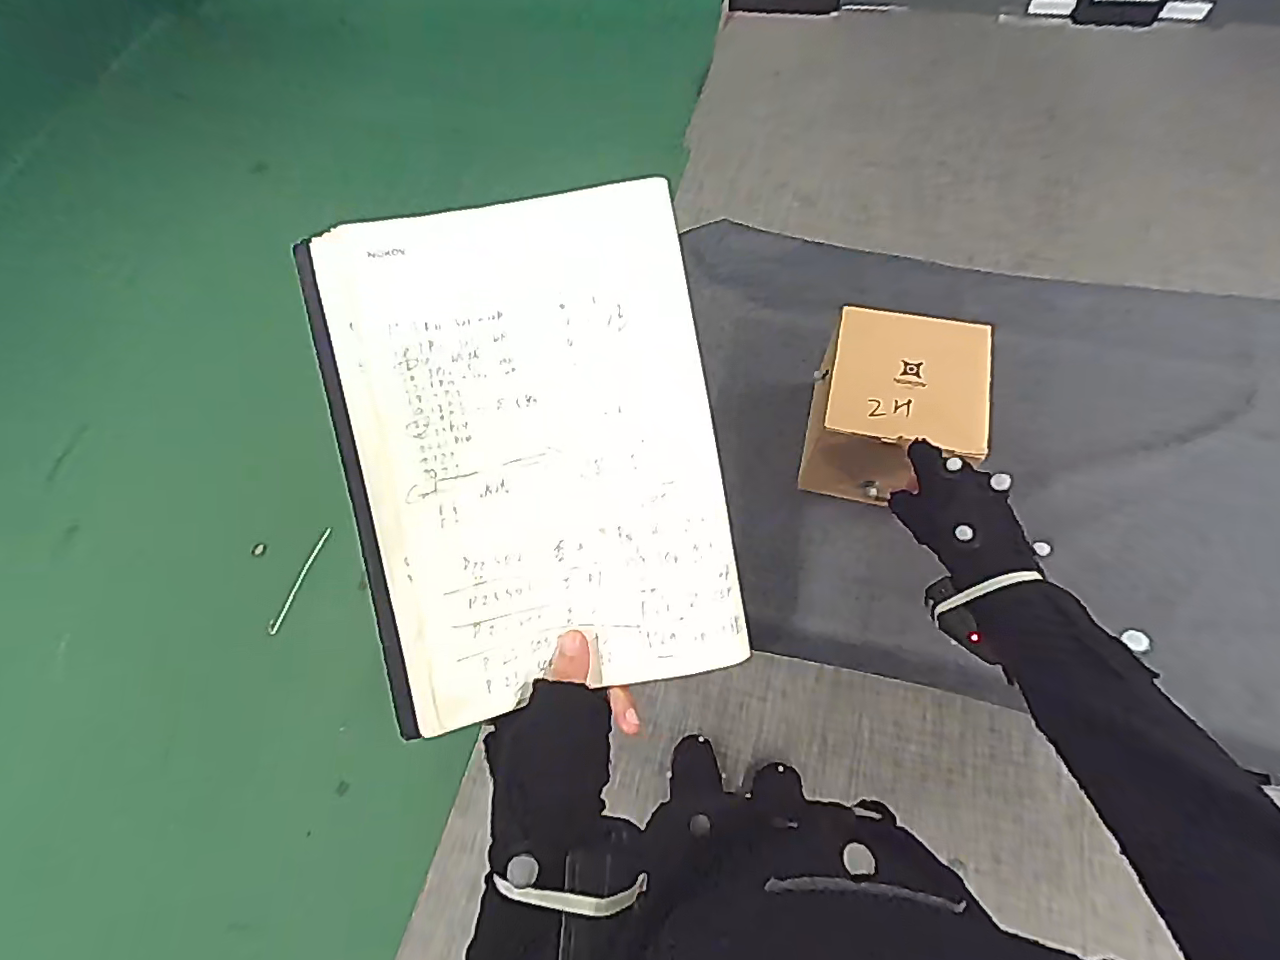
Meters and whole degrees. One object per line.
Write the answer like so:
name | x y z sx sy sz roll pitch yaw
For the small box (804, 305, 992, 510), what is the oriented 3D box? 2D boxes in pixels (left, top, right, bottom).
small box | 0.310 -0.084 0.676 0.168 0.176 0.179 12 67 12
